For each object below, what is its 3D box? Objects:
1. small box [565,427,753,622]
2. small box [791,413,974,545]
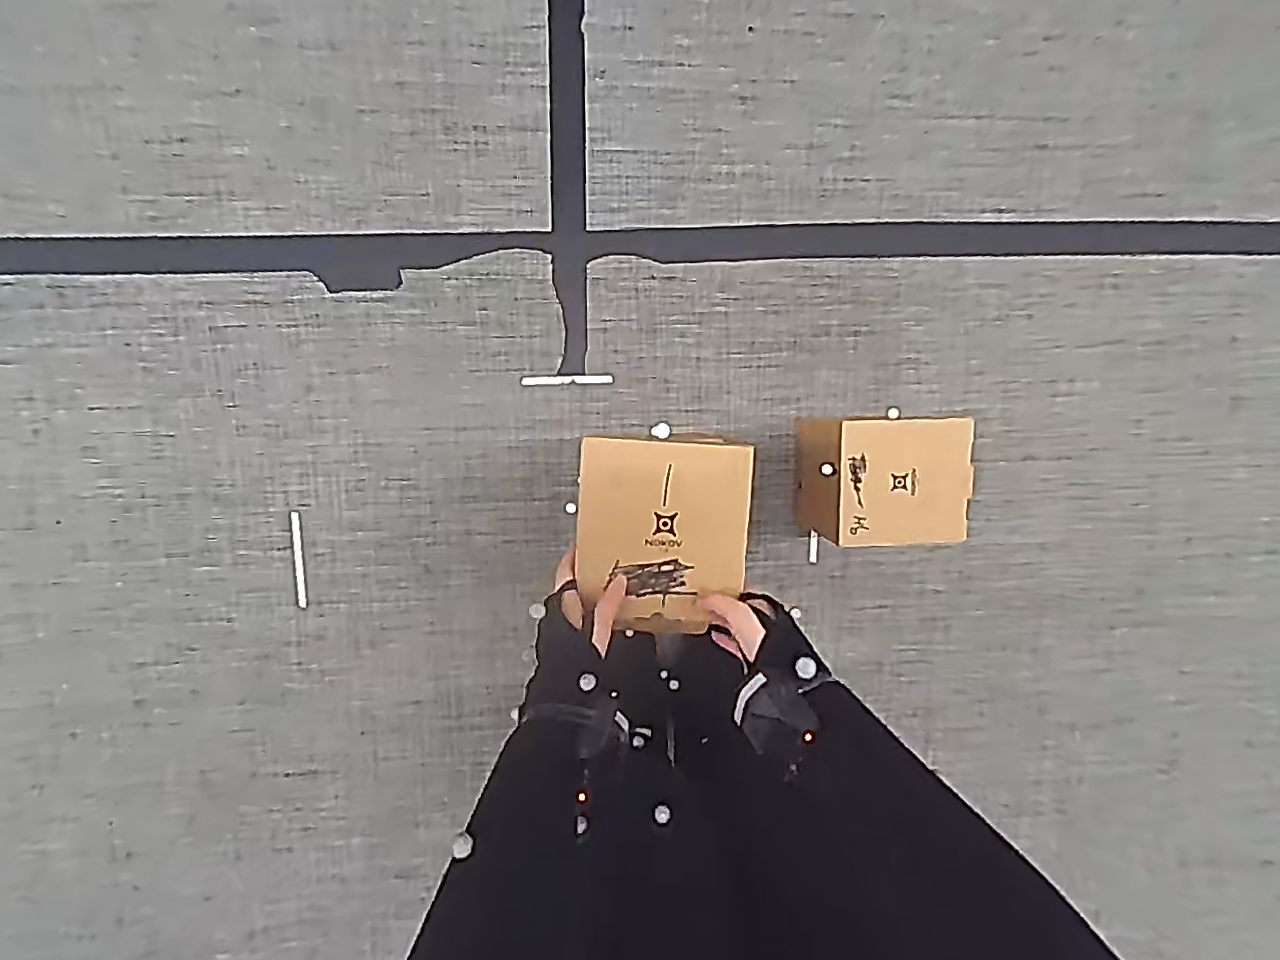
[{"bbox_3d":[0.013,0.038,0.586,0.168,0.176,0.179,4,94,-5],"label":"small box"},{"bbox_3d":[0.331,-0.010,0.768,0.179,0.176,0.168,-2,98,-4],"label":"small box"}]
